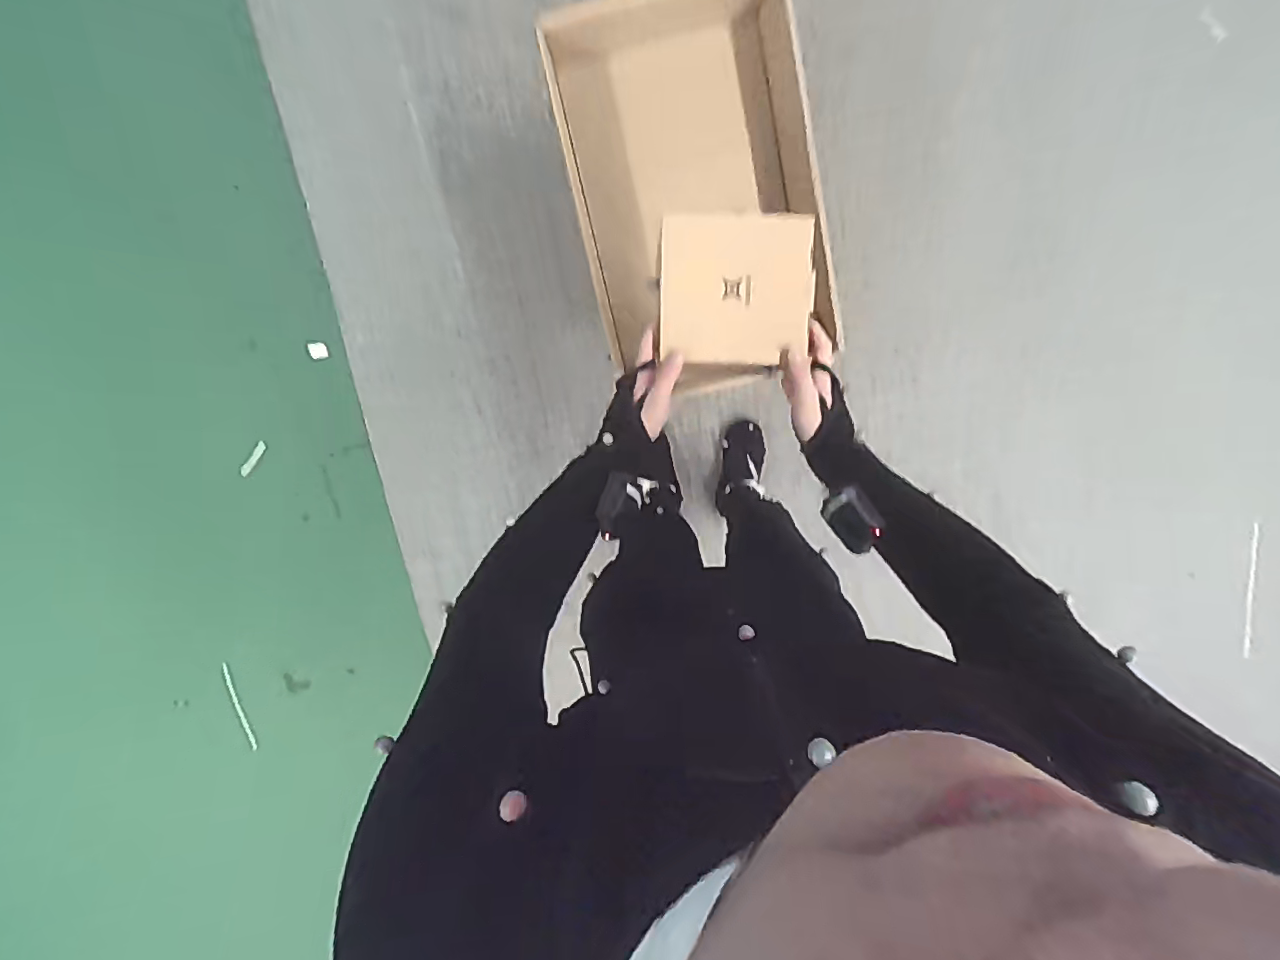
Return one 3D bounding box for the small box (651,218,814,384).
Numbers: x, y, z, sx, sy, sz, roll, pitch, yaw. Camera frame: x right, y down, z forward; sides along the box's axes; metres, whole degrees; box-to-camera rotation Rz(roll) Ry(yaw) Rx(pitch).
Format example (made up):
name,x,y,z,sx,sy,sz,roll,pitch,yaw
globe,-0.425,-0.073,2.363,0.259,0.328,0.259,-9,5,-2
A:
name,x,y,z,sx,sy,sz,roll,pitch,yaw
small box,0.105,-0.214,0.689,0.179,0.176,0.168,1,94,-2
